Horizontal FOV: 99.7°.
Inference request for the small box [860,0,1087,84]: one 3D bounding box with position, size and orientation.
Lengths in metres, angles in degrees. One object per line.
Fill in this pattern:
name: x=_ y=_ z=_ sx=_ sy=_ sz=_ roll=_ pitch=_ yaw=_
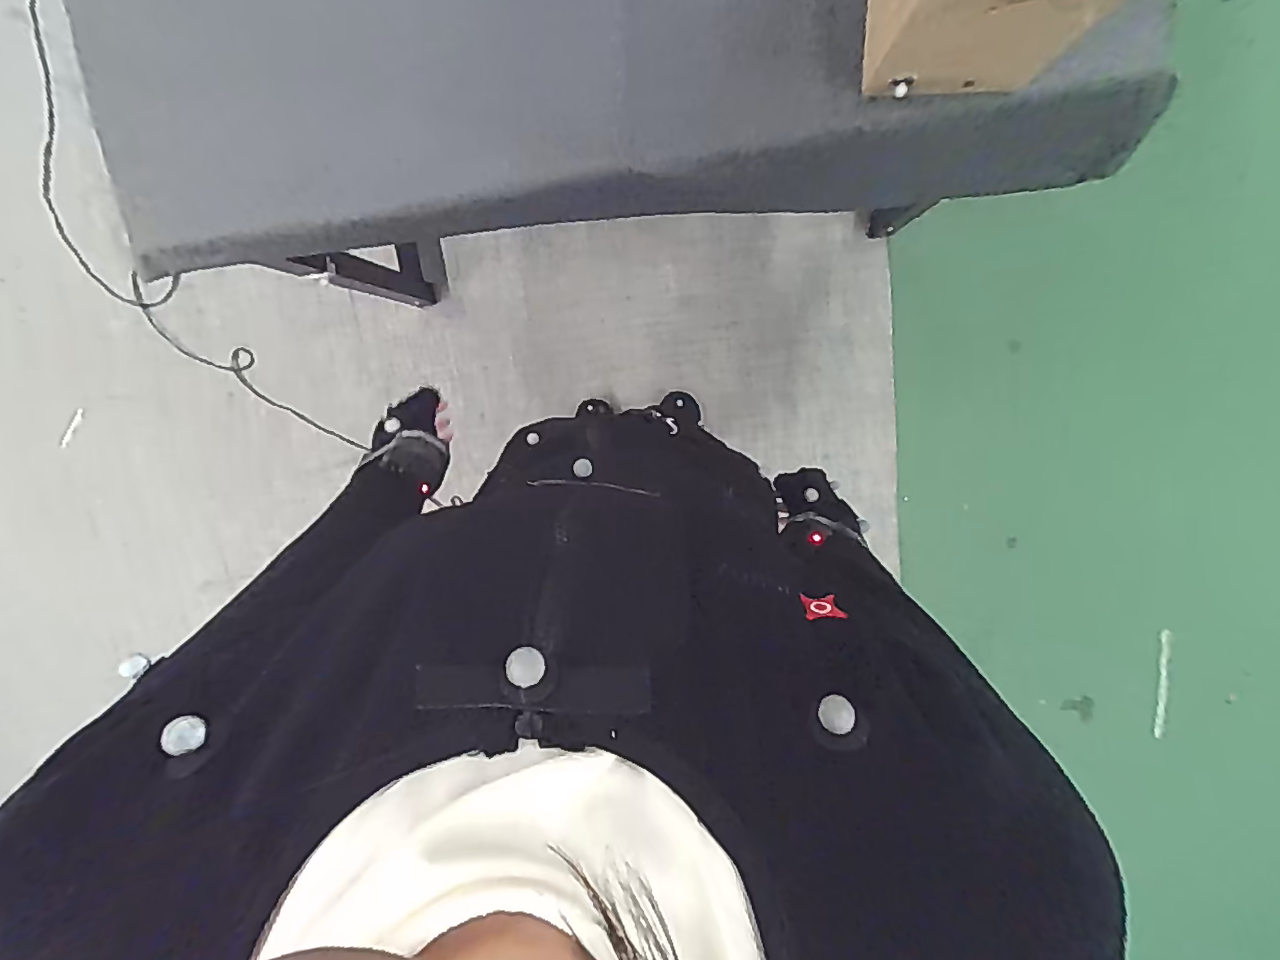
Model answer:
small box: x=0.315 y=-0.498 z=0.498 sx=0.168 sy=0.176 sz=0.179 roll=1 pitch=100 yaw=4
